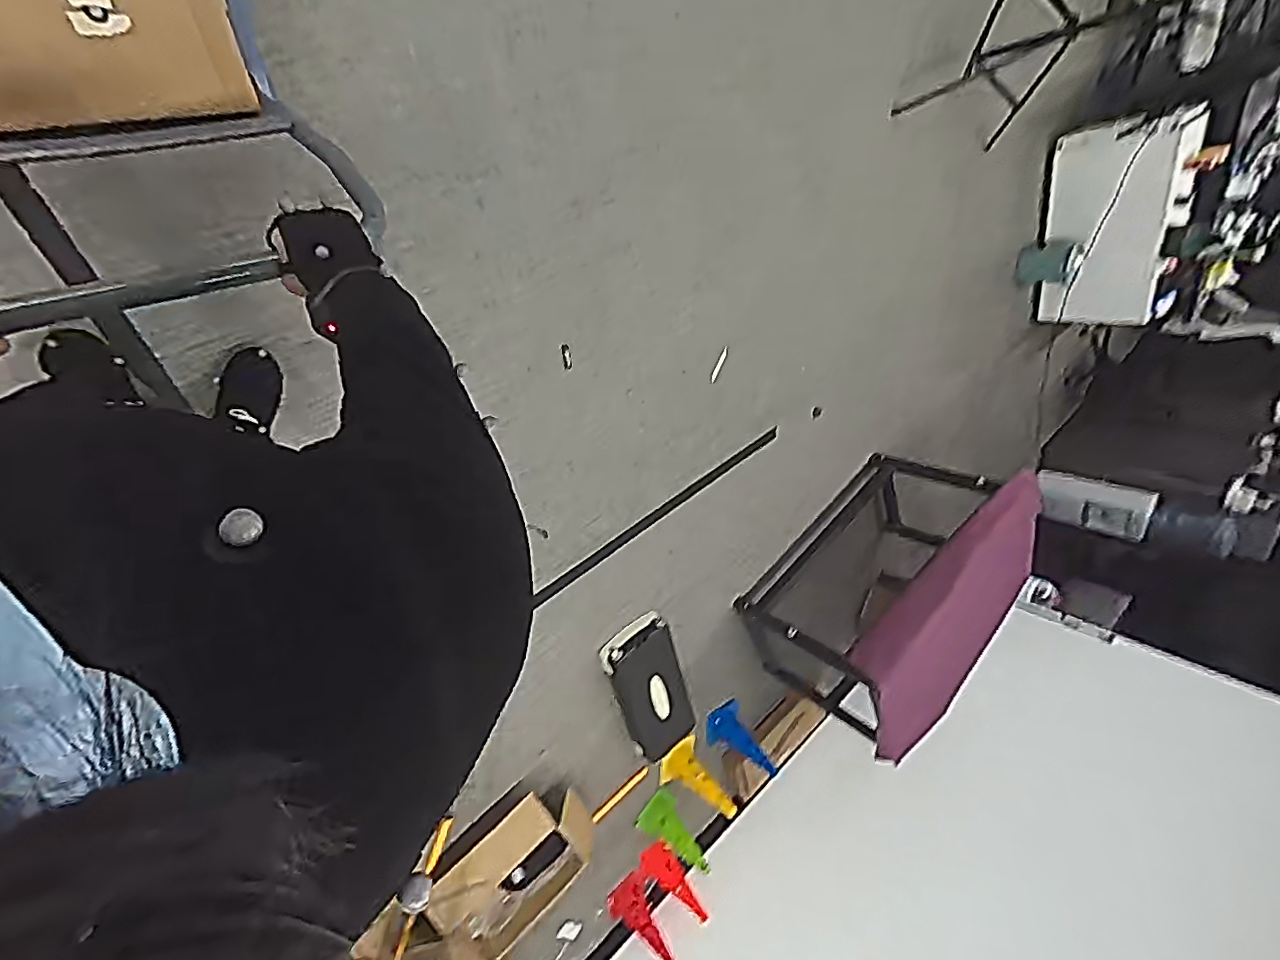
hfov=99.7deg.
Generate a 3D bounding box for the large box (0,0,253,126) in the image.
[{"bbox_3d":[-0.807,-0.657,0.676,0.408,0.320,0.320,-29,140,-29],"label":"large box"}]
